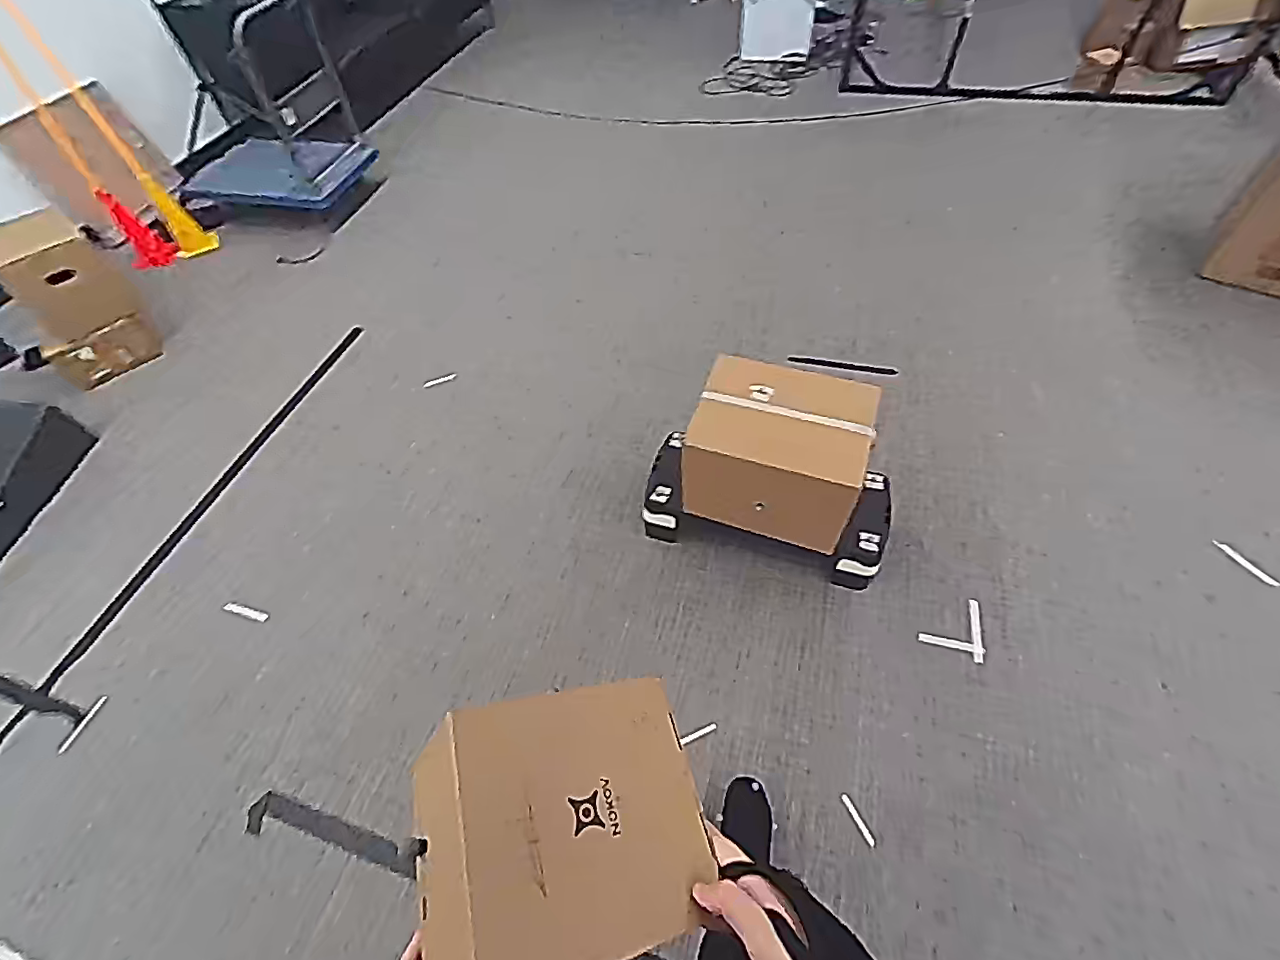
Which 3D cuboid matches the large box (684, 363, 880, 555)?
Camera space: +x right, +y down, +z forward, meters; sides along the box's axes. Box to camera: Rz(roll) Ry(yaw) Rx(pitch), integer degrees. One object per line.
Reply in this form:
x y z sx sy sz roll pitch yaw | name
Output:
0.352 -0.052 1.378 0.408 0.320 0.320 15 57 17 | large box

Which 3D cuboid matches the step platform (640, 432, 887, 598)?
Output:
0.345 0.084 1.576 0.684 0.204 0.286 16 58 17 | step platform
